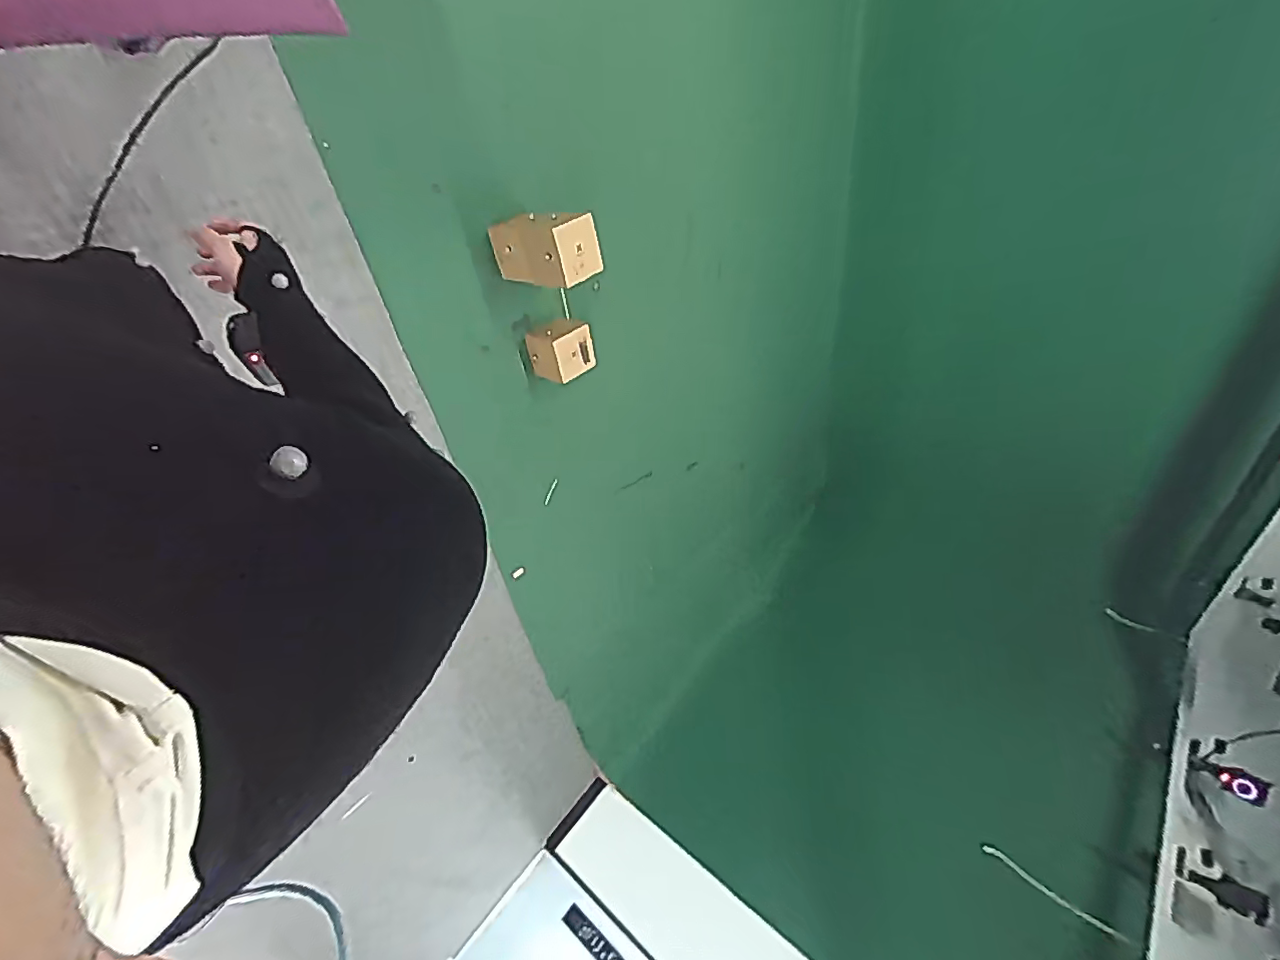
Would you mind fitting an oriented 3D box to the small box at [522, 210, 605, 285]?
[{"bbox_3d":[-0.238,-0.720,1.674,0.168,0.176,0.179,-41,136,-32],"label":"small box"}]

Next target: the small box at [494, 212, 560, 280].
[{"bbox_3d":[-0.357,-0.770,1.777,0.179,0.176,0.168,-42,136,-32],"label":"small box"}]
